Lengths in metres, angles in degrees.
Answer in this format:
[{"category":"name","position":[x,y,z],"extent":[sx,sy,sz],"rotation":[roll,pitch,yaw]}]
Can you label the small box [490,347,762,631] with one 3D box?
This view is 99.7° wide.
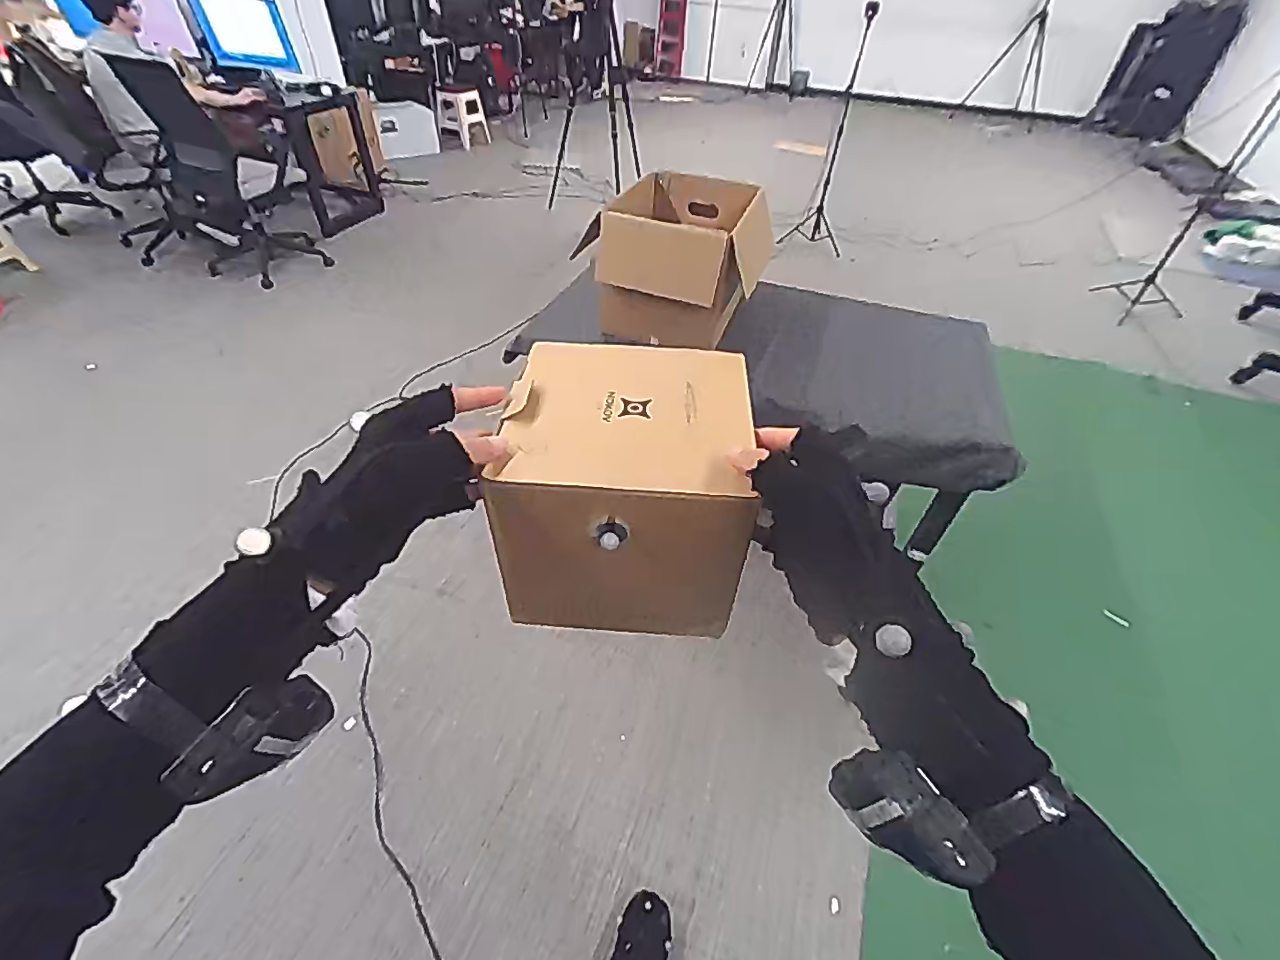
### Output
[{"category":"small box","position":[-0.007,0.009,0.450],"extent":[0.179,0.176,0.168],"rotation":[5,44,1]}]
